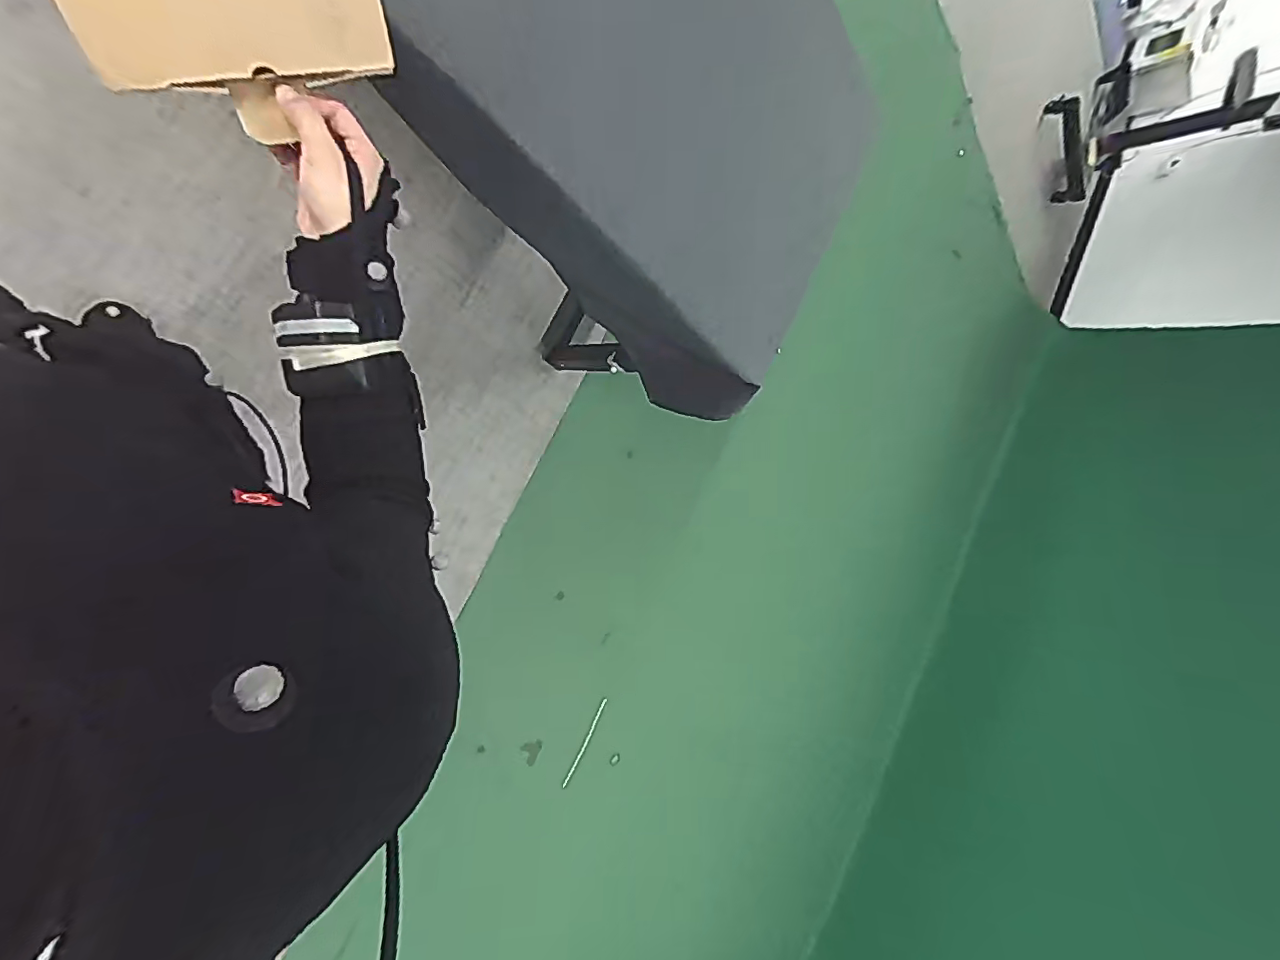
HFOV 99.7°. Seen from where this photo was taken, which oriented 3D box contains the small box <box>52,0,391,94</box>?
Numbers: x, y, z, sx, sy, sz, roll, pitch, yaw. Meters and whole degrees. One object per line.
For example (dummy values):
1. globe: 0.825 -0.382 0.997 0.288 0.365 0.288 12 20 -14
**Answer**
1. small box: -0.280 -0.356 0.320 0.168 0.176 0.179 -29 142 -26
